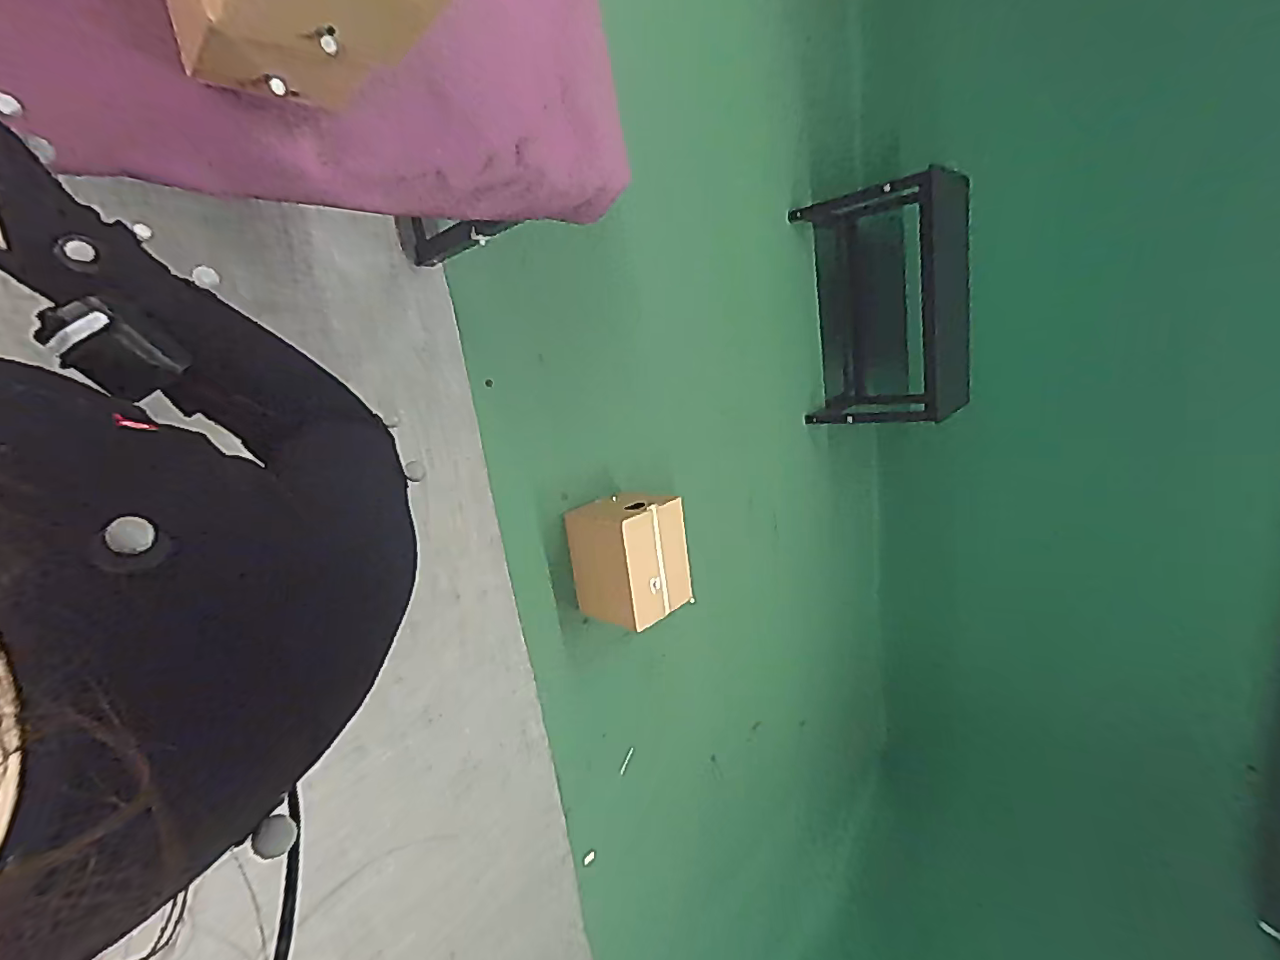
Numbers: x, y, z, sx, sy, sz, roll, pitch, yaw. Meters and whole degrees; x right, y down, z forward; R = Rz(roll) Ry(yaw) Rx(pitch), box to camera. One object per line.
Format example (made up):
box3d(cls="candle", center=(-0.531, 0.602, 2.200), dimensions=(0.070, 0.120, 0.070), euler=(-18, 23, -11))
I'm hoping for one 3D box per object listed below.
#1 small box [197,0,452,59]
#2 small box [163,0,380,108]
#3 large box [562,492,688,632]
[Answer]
box3d(cls="small box", center=(-0.292, -0.513, 0.476), dimensions=(0.179, 0.176, 0.168), euler=(-24, 111, -43))
box3d(cls="small box", center=(-0.410, -0.551, 0.587), dimensions=(0.168, 0.176, 0.179), euler=(-20, 108, -44))
box3d(cls="large box", center=(-0.053, 0.282, 1.994), dimensions=(0.320, 0.320, 0.408), euler=(-19, 108, -44))
